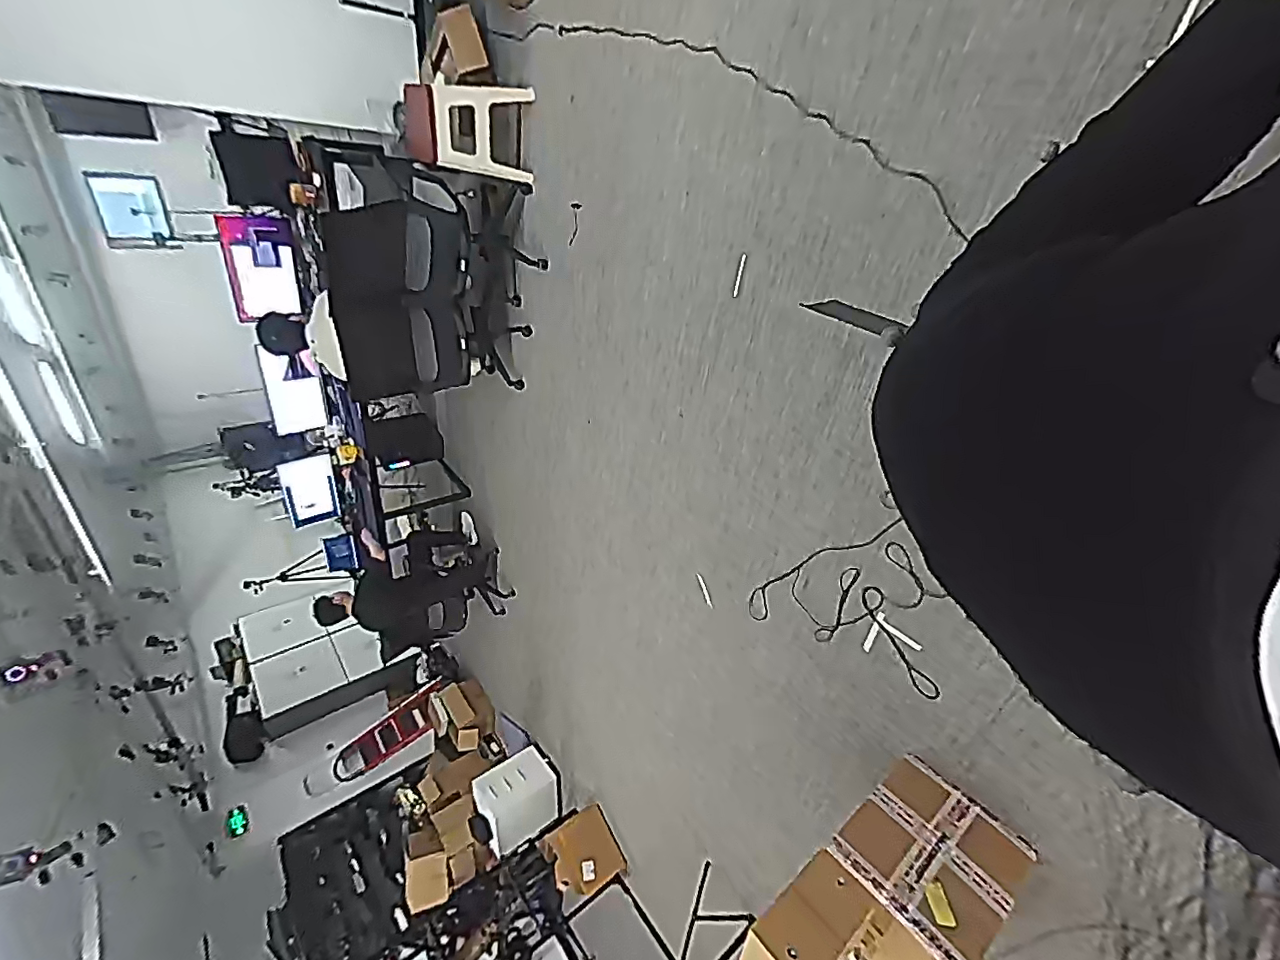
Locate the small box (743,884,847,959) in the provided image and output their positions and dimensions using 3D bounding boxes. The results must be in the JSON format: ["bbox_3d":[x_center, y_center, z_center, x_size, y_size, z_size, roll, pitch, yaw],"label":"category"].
[{"bbox_3d":[0.390,1.187,1.363,0.179,0.176,0.168,30,123,43],"label":"small box"}]

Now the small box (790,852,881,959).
[{"bbox_3d":[0.516,1.158,1.467,0.179,0.176,0.168,30,124,43],"label":"small box"}]
